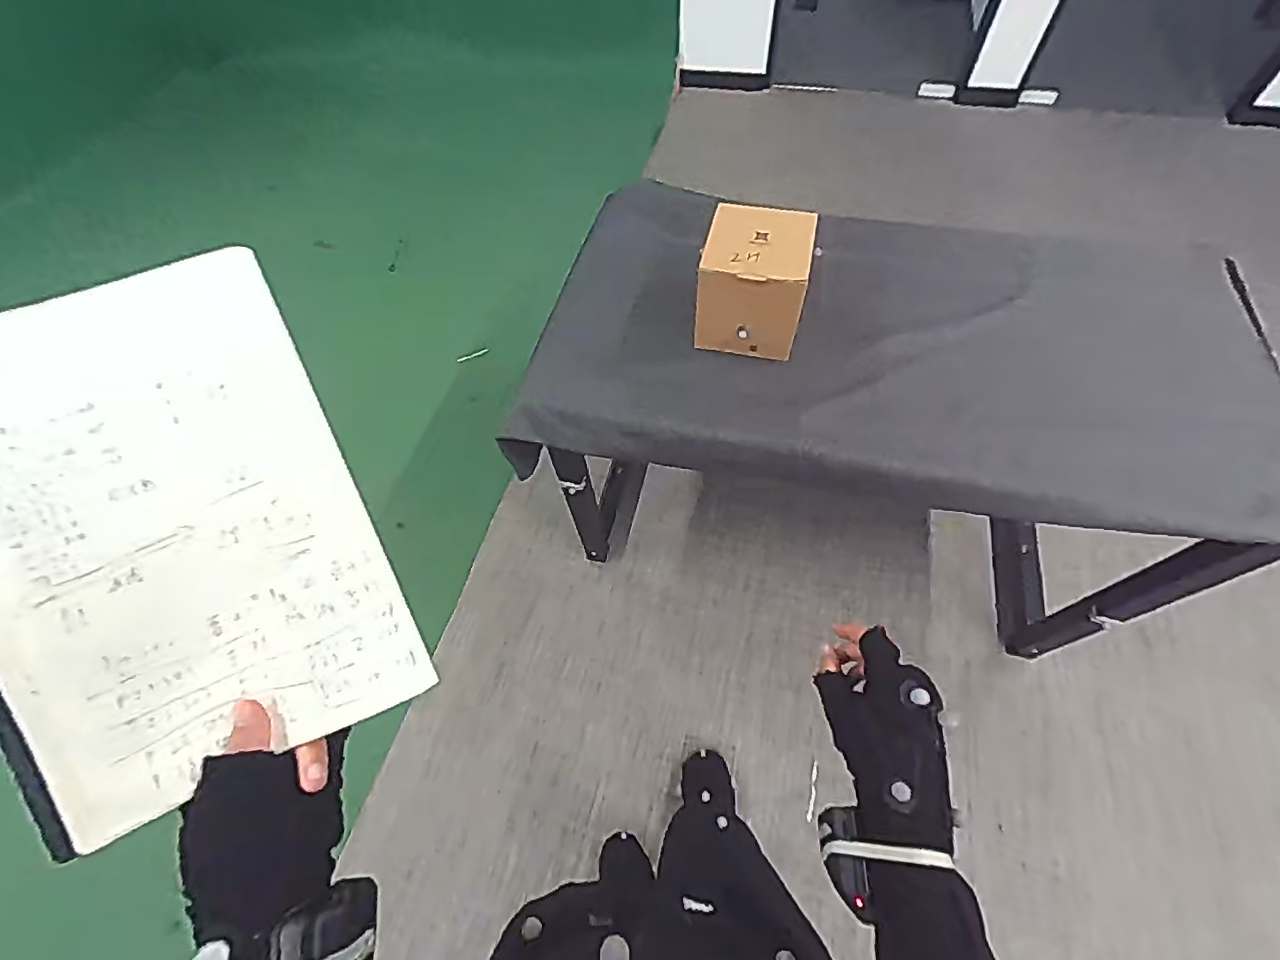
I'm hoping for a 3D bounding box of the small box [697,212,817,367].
[{"bbox_3d":[0.194,-0.324,0.925,0.168,0.176,0.179,11,59,10],"label":"small box"}]
